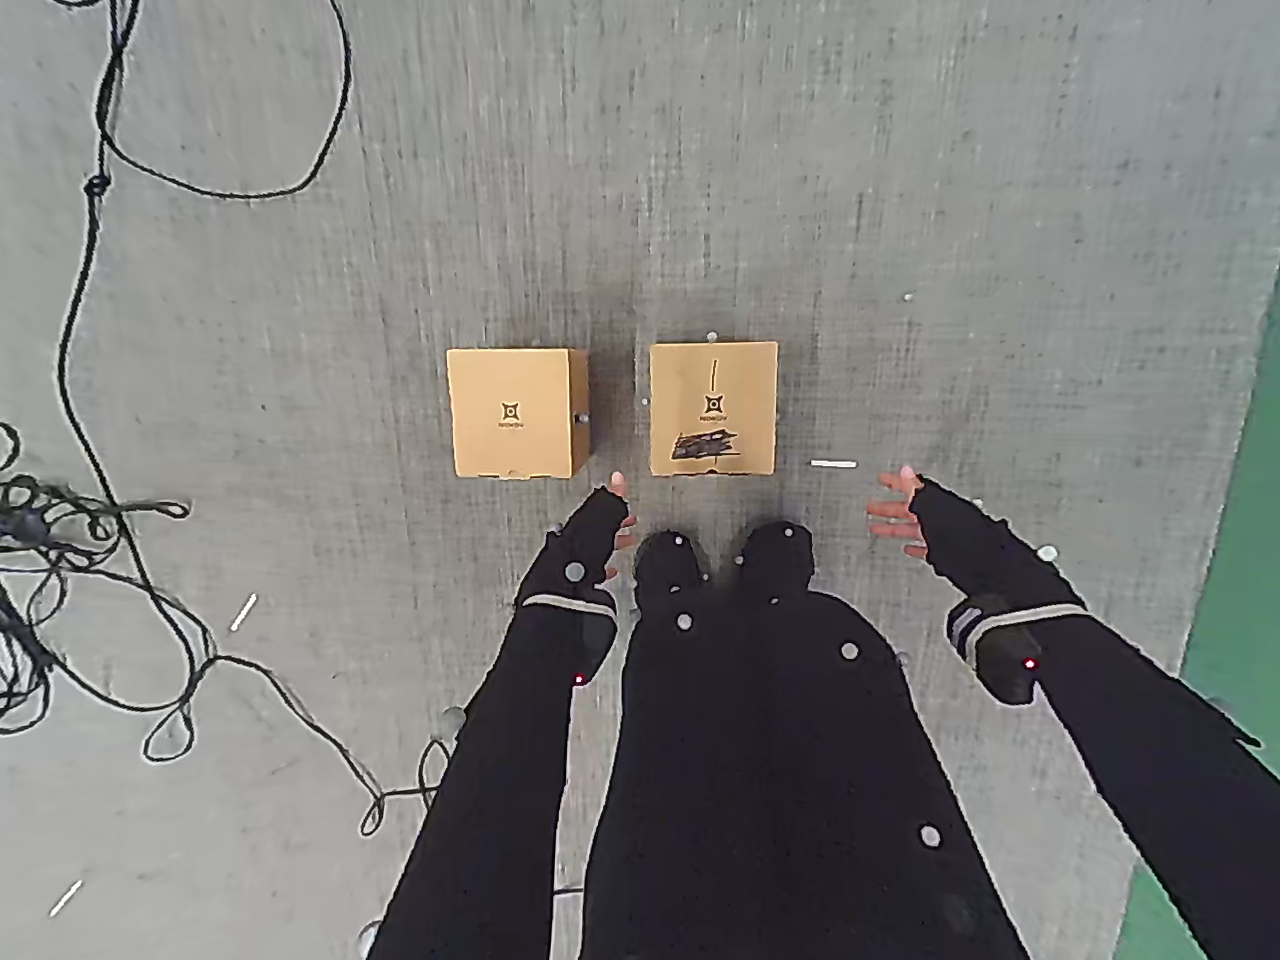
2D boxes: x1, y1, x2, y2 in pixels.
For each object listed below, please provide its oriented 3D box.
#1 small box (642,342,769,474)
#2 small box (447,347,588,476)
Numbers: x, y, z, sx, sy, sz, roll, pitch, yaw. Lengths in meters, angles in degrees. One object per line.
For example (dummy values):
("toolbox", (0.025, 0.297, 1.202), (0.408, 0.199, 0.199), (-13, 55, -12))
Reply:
("small box", (0.092, -0.112, 0.795), (0.168, 0.176, 0.179), (0, 102, 4))
("small box", (-0.174, -0.108, 0.817), (0.168, 0.176, 0.179), (0, 103, 4))
